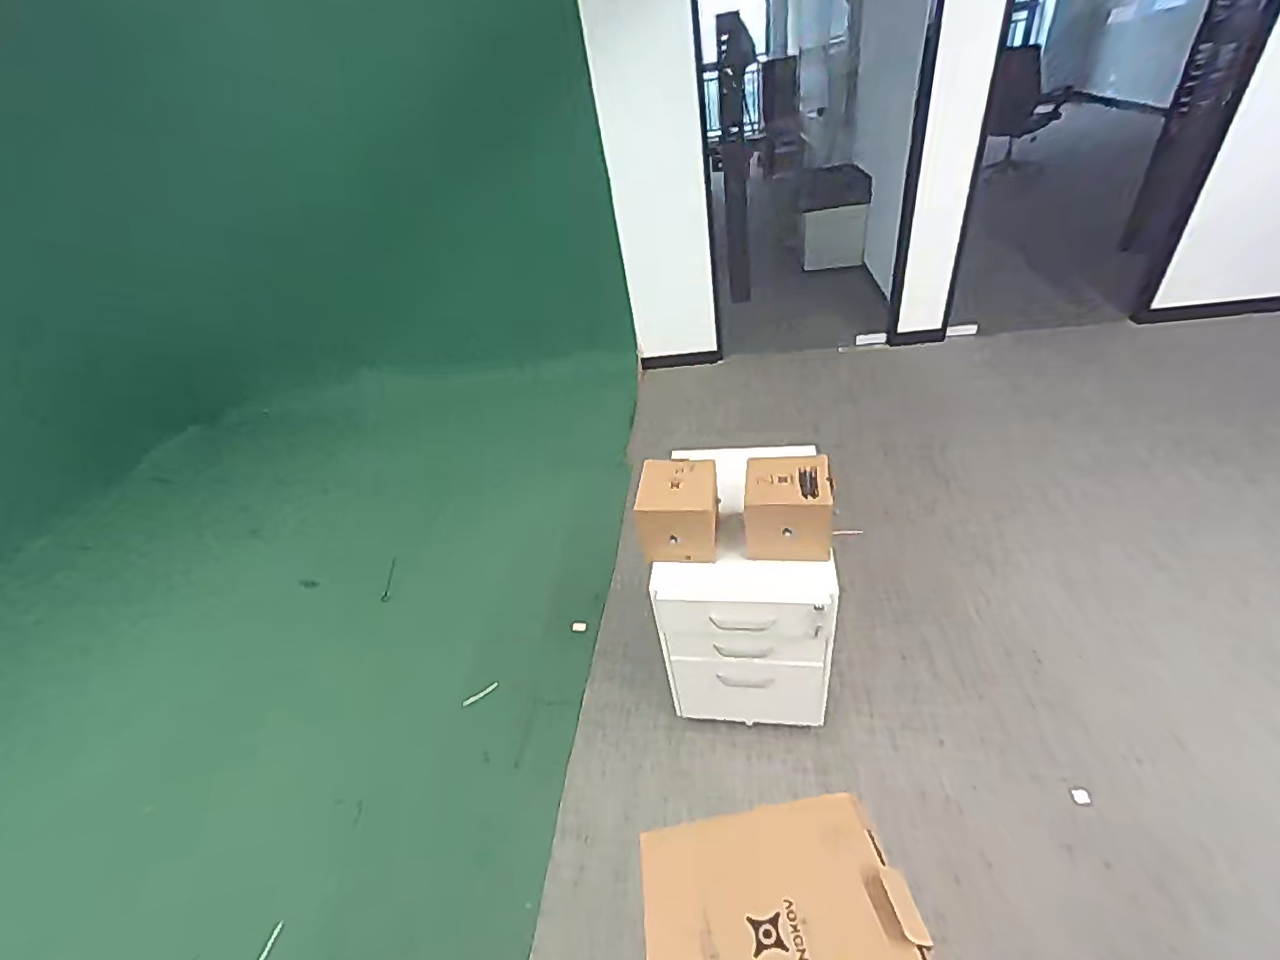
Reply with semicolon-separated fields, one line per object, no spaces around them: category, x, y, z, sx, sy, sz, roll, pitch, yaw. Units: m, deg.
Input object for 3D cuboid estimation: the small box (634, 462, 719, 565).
small box;0.091;0.077;1.232;0.168;0.176;0.179;0;39;12
